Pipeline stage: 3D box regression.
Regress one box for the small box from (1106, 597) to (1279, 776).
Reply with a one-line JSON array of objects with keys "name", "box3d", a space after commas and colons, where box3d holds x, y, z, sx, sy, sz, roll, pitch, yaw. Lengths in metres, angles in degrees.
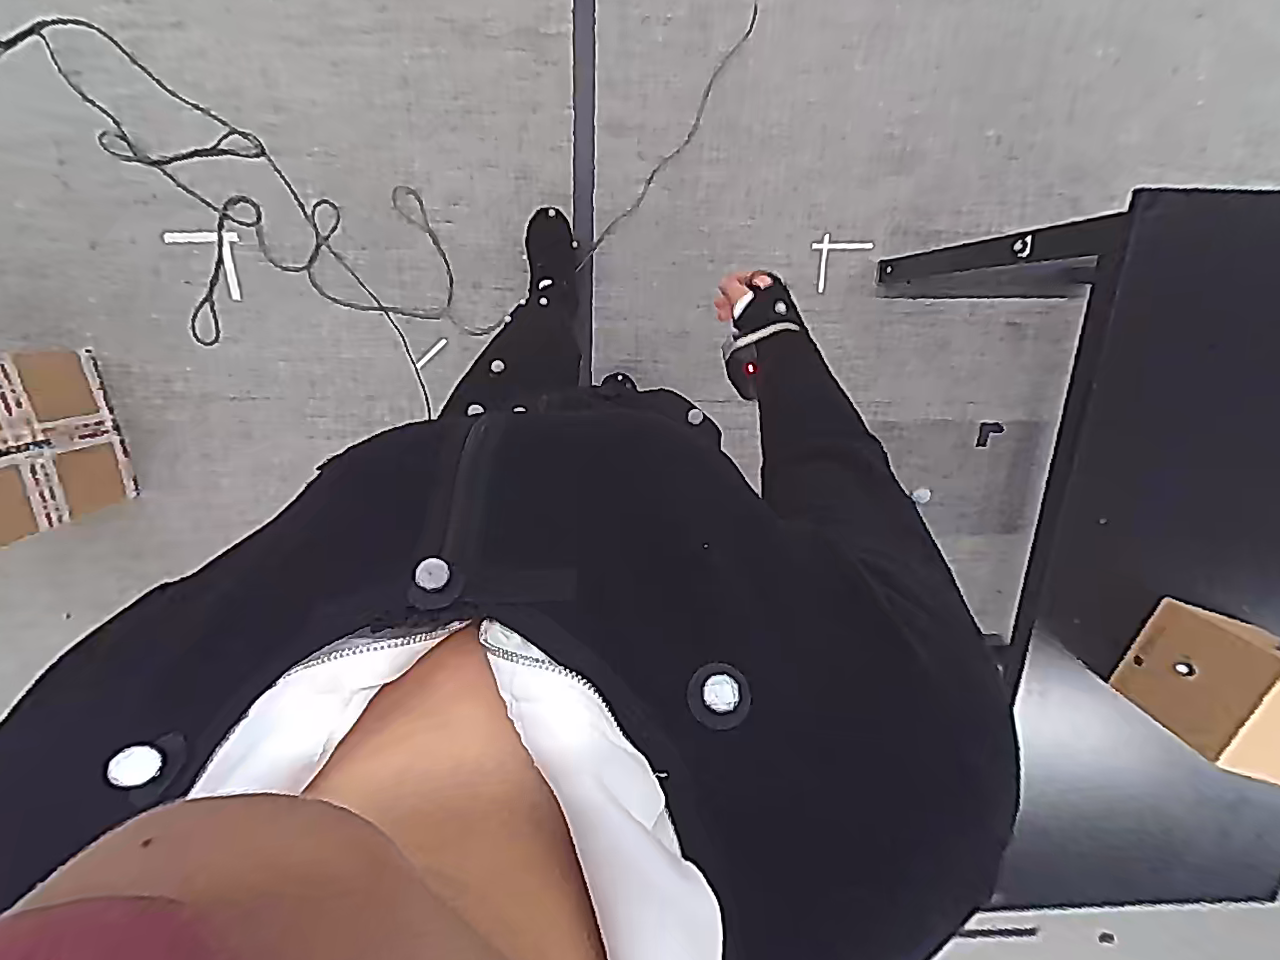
[{"name": "small box", "box3d": [0.852, 0.292, 0.788, 0.179, 0.176, 0.168, 17, 106, -8]}]
